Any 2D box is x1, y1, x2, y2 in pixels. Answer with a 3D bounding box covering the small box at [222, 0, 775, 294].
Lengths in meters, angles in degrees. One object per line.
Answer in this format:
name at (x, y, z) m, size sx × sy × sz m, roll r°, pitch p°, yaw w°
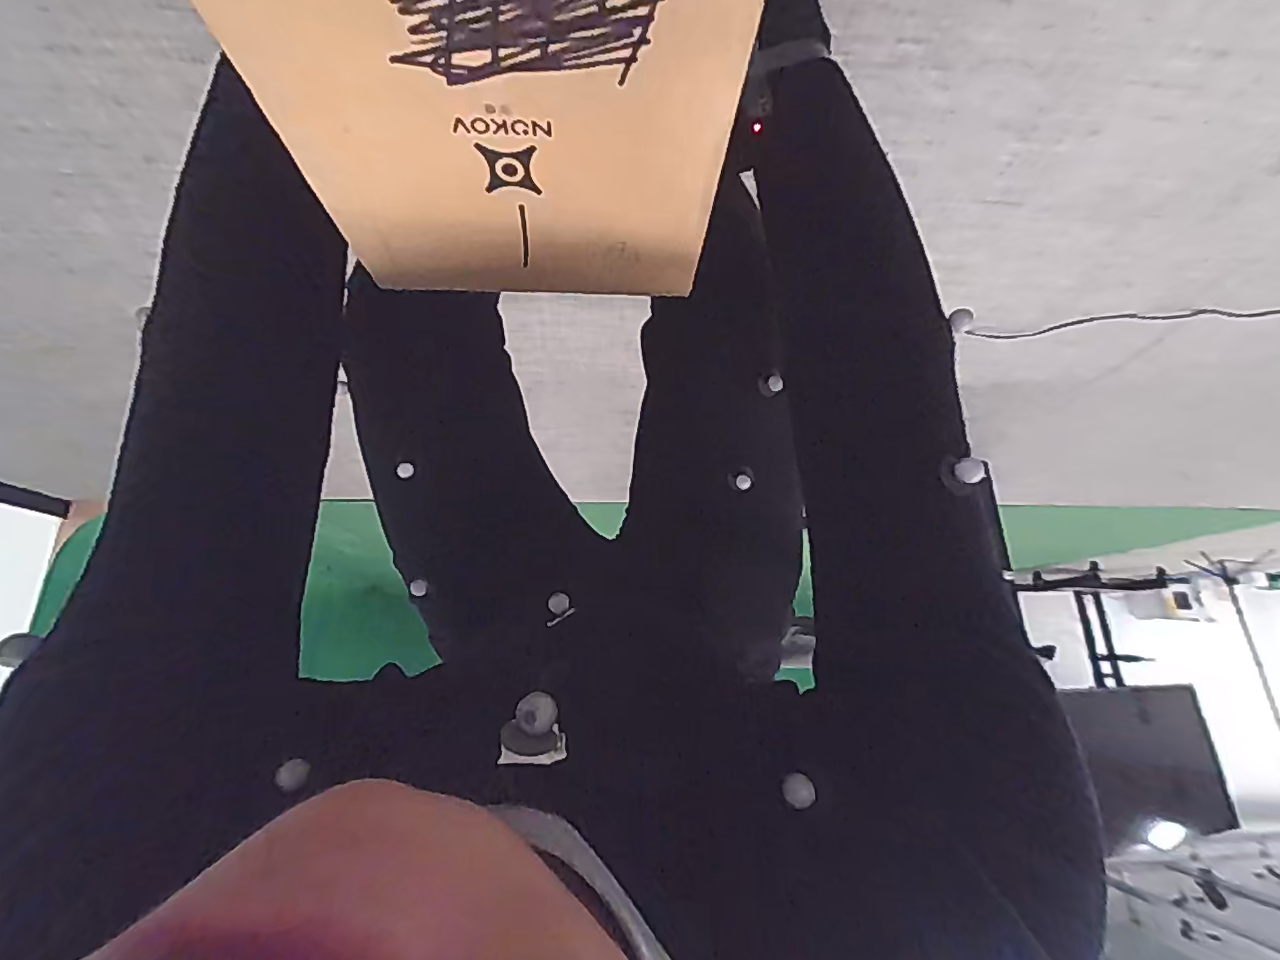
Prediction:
small box at (-0.047, -0.205, 0.233) m, size 0.168 × 0.176 × 0.179 m, roll 0°, pitch 164°, yaw -4°
